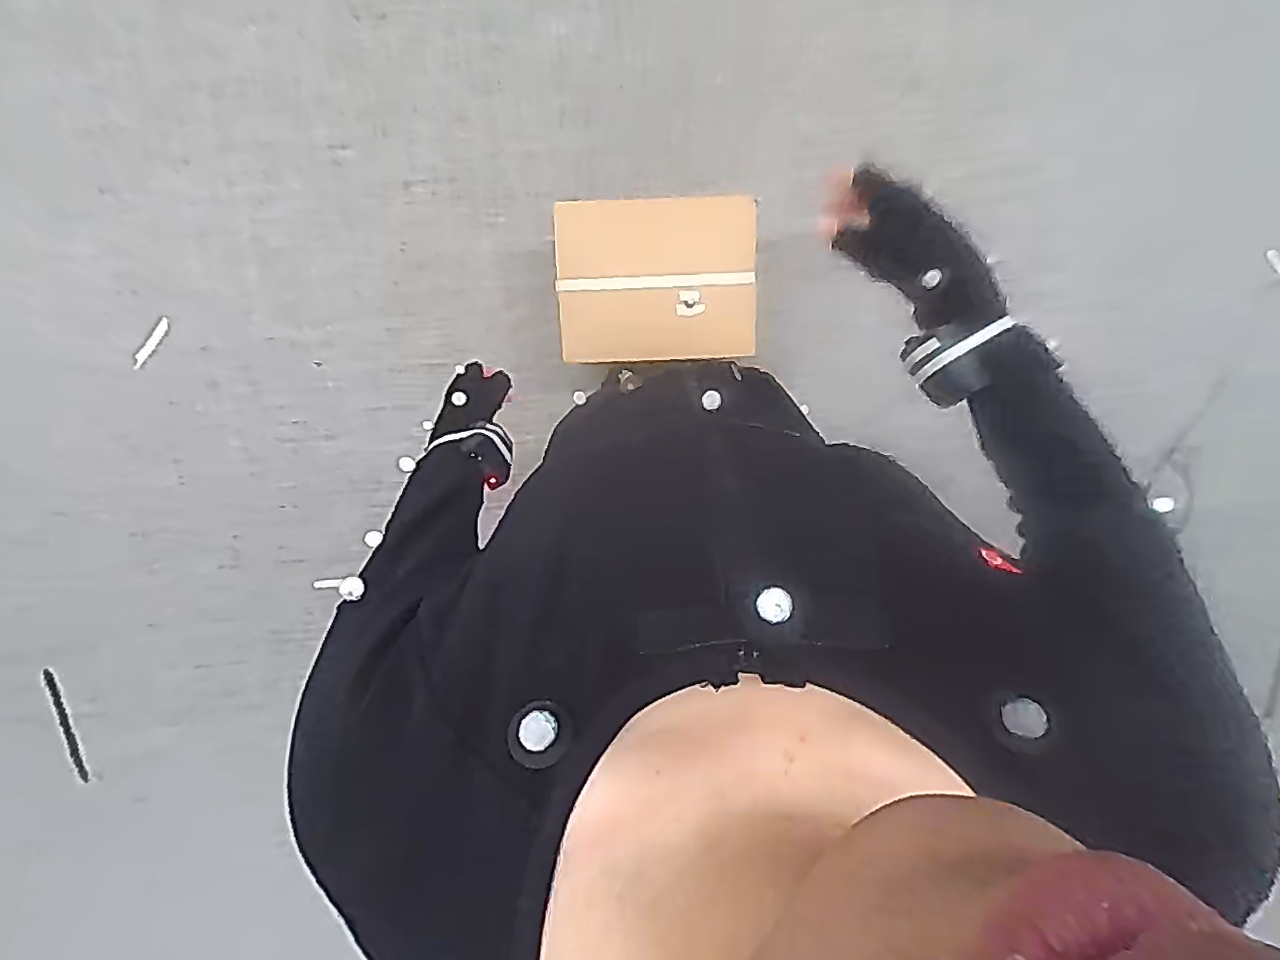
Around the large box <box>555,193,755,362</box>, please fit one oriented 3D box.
[{"bbox_3d":[0.031,-0.441,1.248,0.408,0.320,0.320,-3,103,-1],"label":"large box"}]
